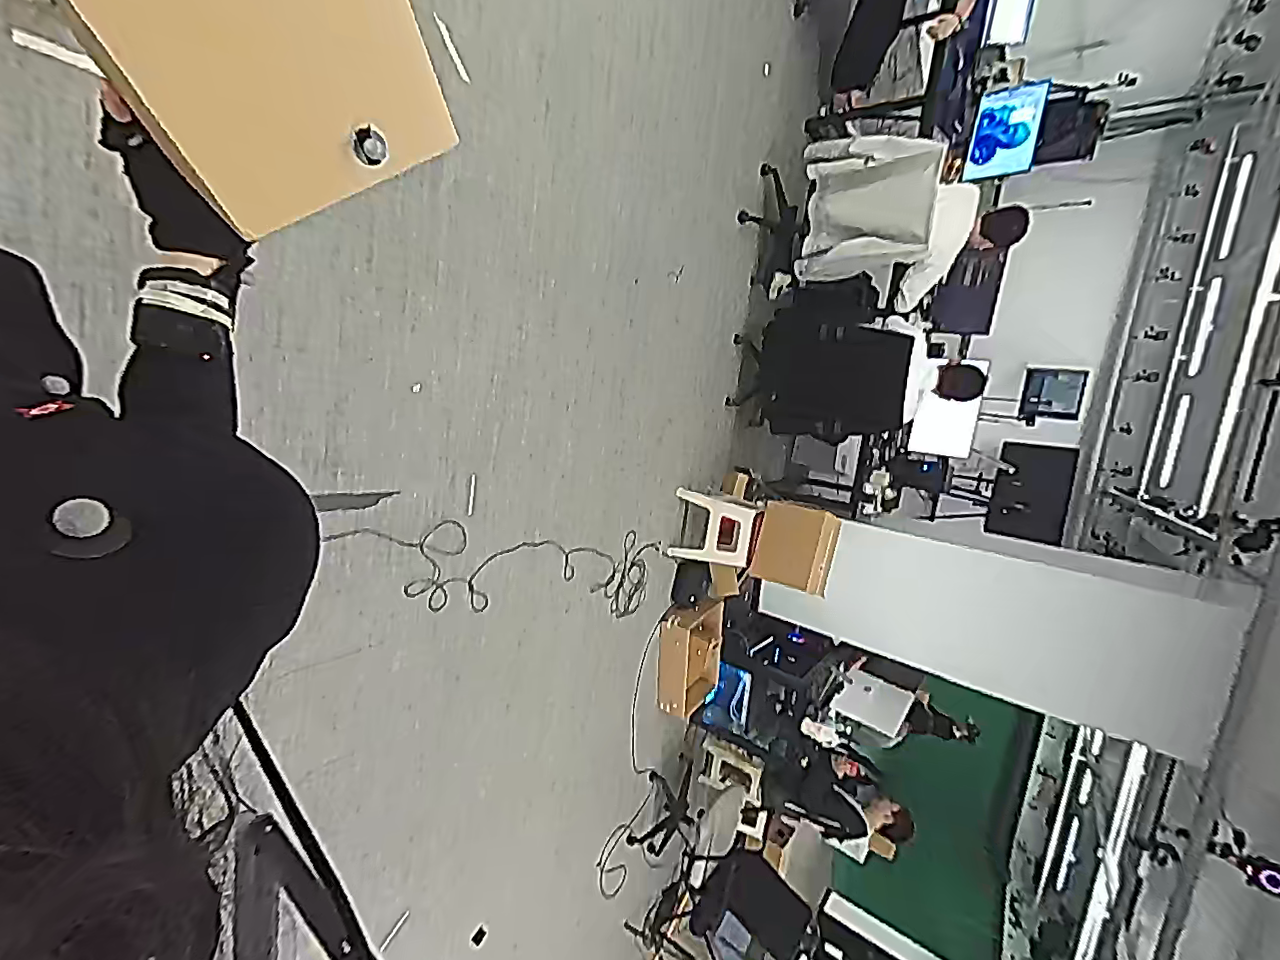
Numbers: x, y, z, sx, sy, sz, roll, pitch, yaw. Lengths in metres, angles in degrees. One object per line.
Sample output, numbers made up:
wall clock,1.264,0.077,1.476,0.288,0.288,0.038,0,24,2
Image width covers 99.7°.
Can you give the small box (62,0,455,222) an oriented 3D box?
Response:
small box,-0.258,-0.306,0.346,0.168,0.179,0.176,-39,148,-19
